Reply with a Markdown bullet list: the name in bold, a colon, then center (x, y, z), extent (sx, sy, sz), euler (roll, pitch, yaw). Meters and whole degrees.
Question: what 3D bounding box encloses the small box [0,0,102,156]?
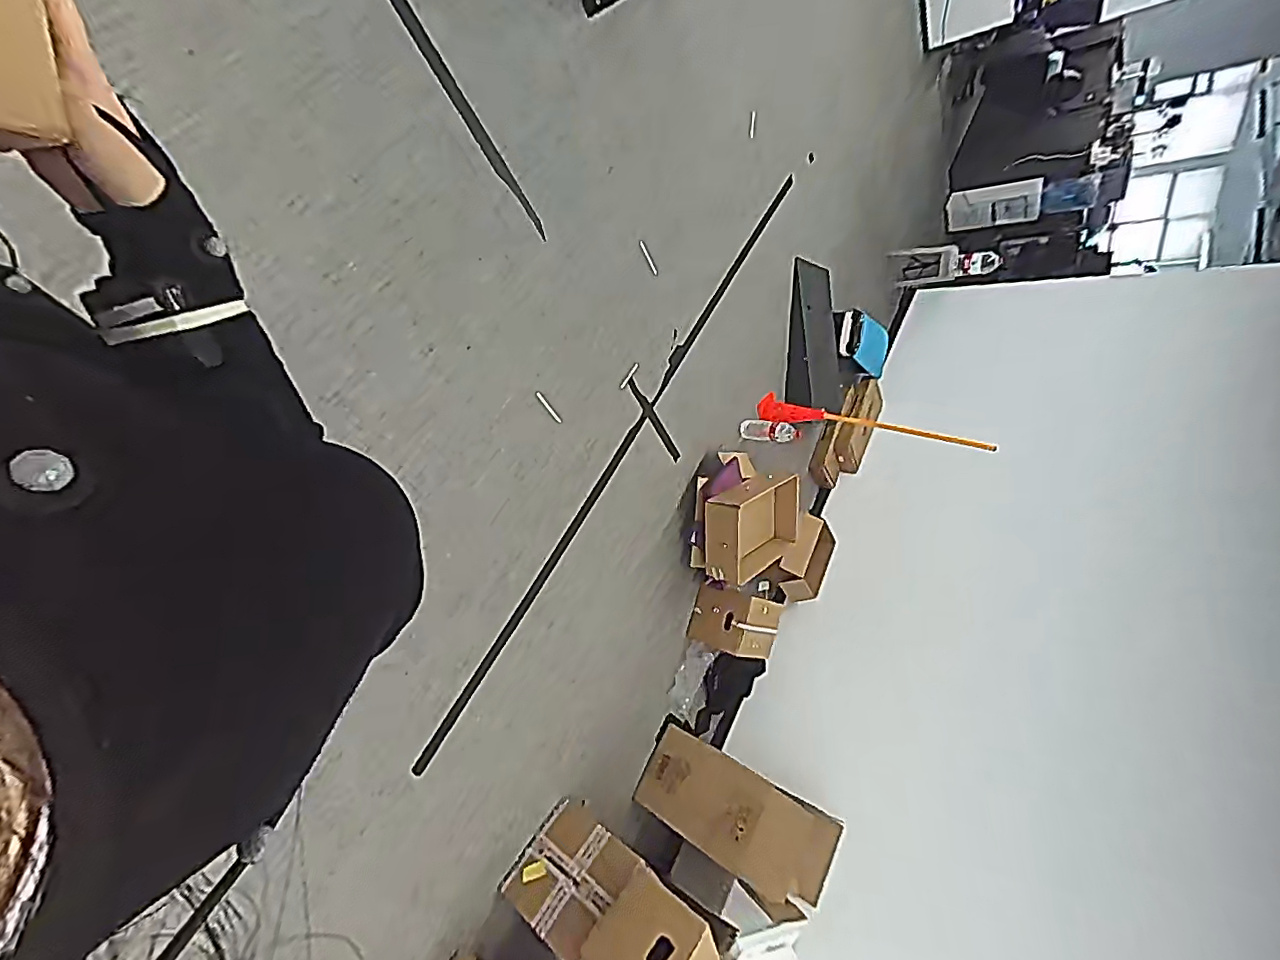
- **small box**: center (-0.347, -0.236, 0.195), extent (0.168, 0.176, 0.179), euler (-21, 124, -52)
